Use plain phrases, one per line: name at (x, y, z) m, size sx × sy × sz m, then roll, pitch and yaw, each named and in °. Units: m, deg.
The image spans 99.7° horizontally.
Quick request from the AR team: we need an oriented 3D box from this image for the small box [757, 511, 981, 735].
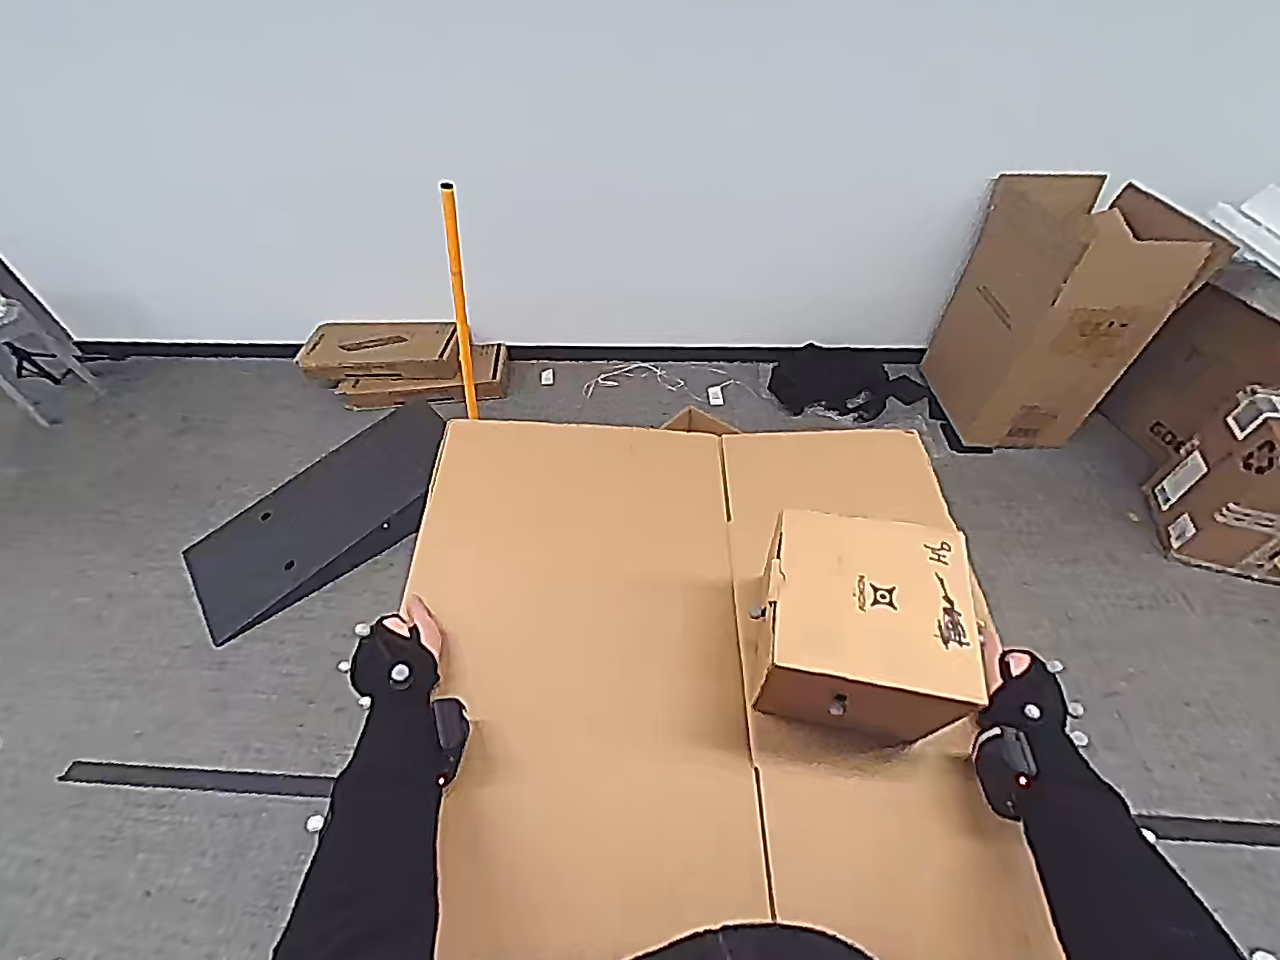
small box at (0.222, 0.154, 0.570) m, size 0.179 × 0.176 × 0.168 m, roll 7°, pitch 56°, yaw 11°
